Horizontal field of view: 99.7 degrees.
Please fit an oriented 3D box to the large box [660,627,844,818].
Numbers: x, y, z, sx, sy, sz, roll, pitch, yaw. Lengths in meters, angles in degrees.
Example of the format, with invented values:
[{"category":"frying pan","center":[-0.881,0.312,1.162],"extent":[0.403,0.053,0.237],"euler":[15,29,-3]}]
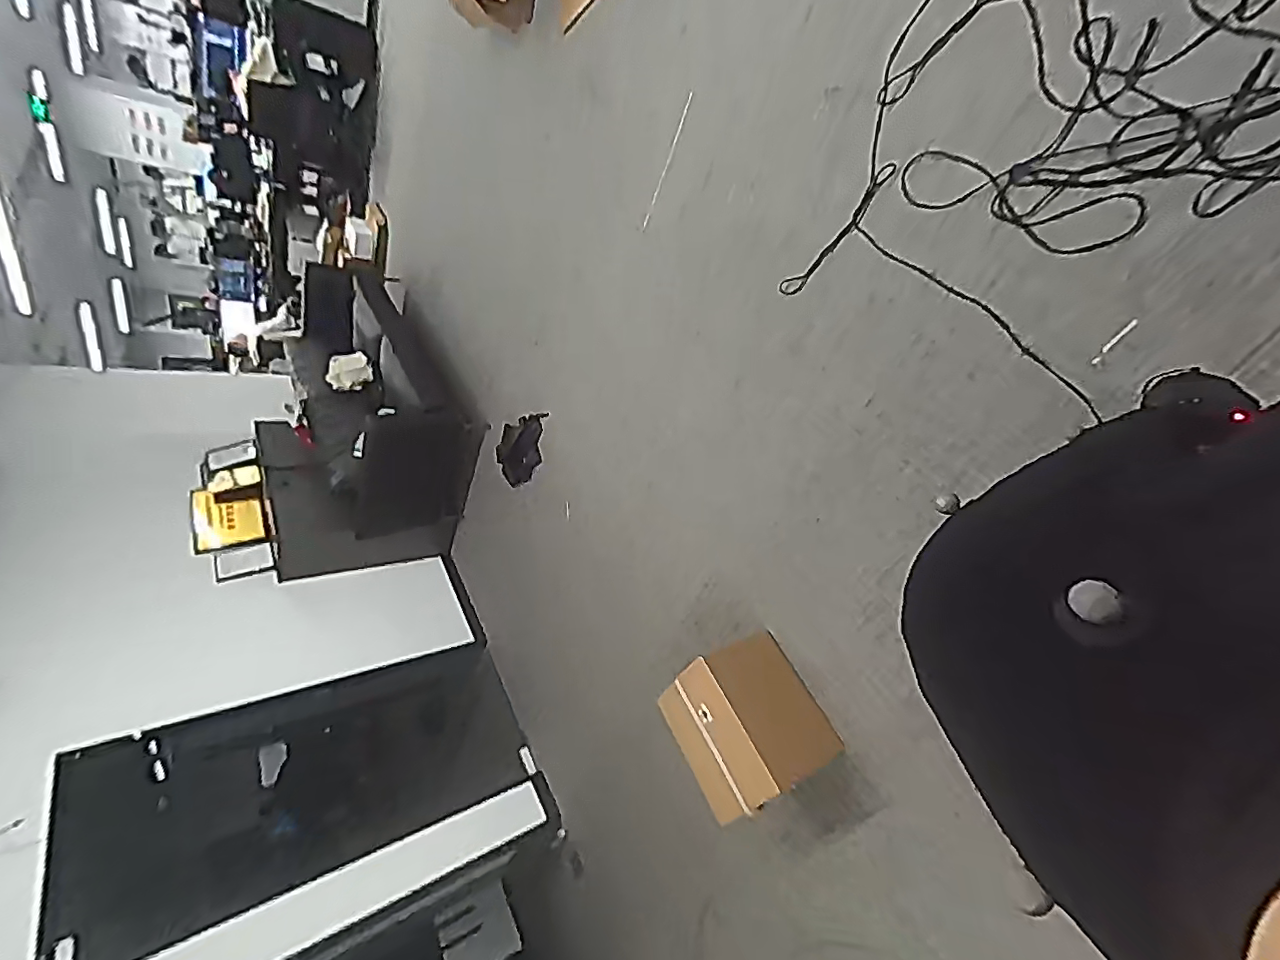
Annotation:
[{"category":"large box","center":[0.335,0.736,1.677],"extent":[0.408,0.320,0.320],"euler":[59,135,30]}]
